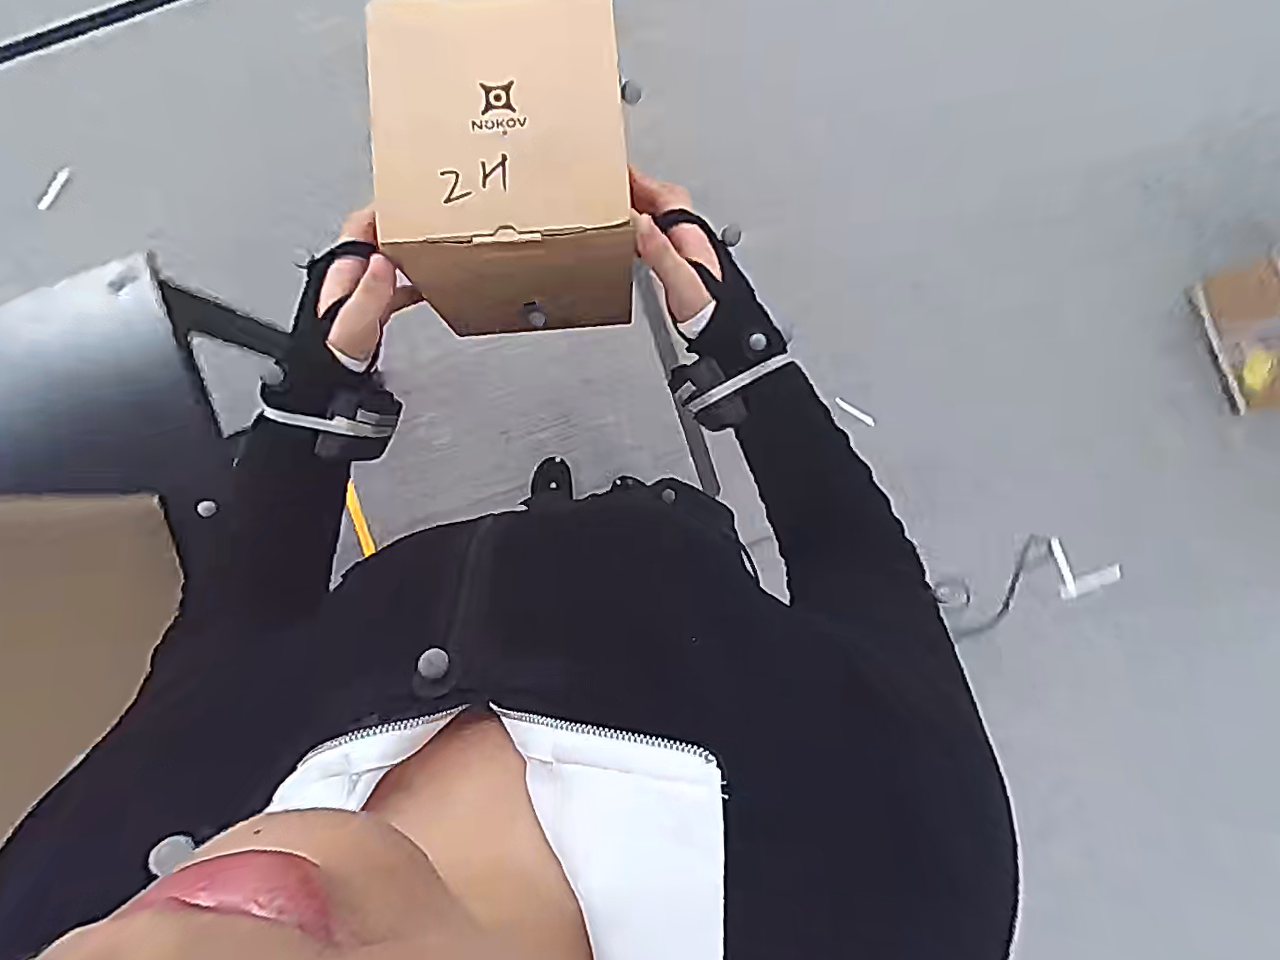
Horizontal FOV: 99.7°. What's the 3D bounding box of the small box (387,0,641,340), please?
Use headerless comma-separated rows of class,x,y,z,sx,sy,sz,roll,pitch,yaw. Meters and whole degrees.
small box,-0.087,-0.233,0.442,0.168,0.176,0.179,-4,82,0
